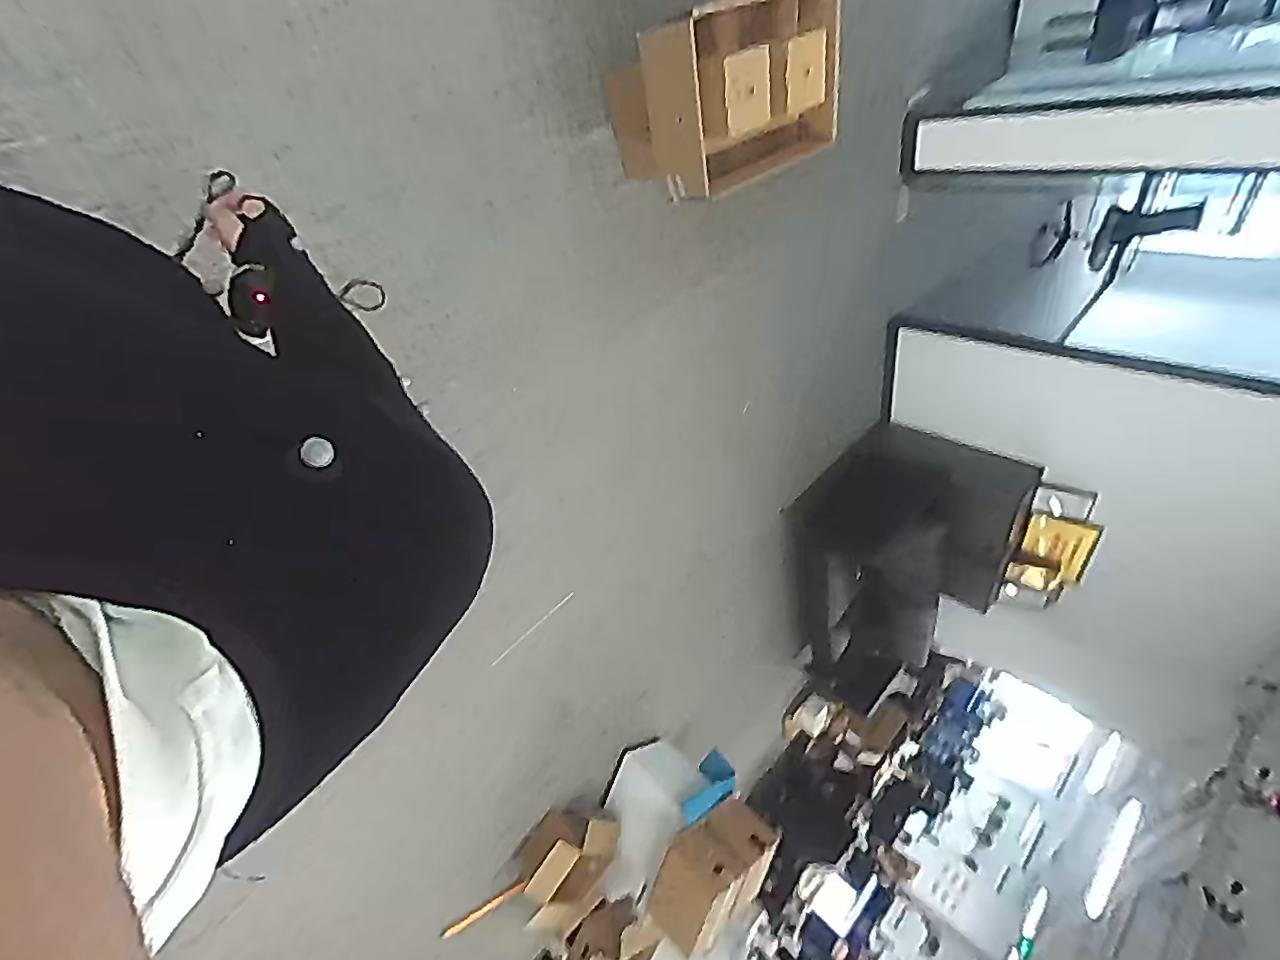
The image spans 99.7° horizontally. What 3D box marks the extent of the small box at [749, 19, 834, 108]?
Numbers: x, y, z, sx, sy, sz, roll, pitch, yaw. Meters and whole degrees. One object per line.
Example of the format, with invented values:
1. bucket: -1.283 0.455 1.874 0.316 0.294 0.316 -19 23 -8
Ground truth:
1. small box: 0.413 -1.151 1.500 0.179 0.176 0.168 -36 135 -24

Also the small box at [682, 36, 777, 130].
1. small box: 0.231 -1.013 1.385 0.179 0.176 0.168 -37 134 -26
